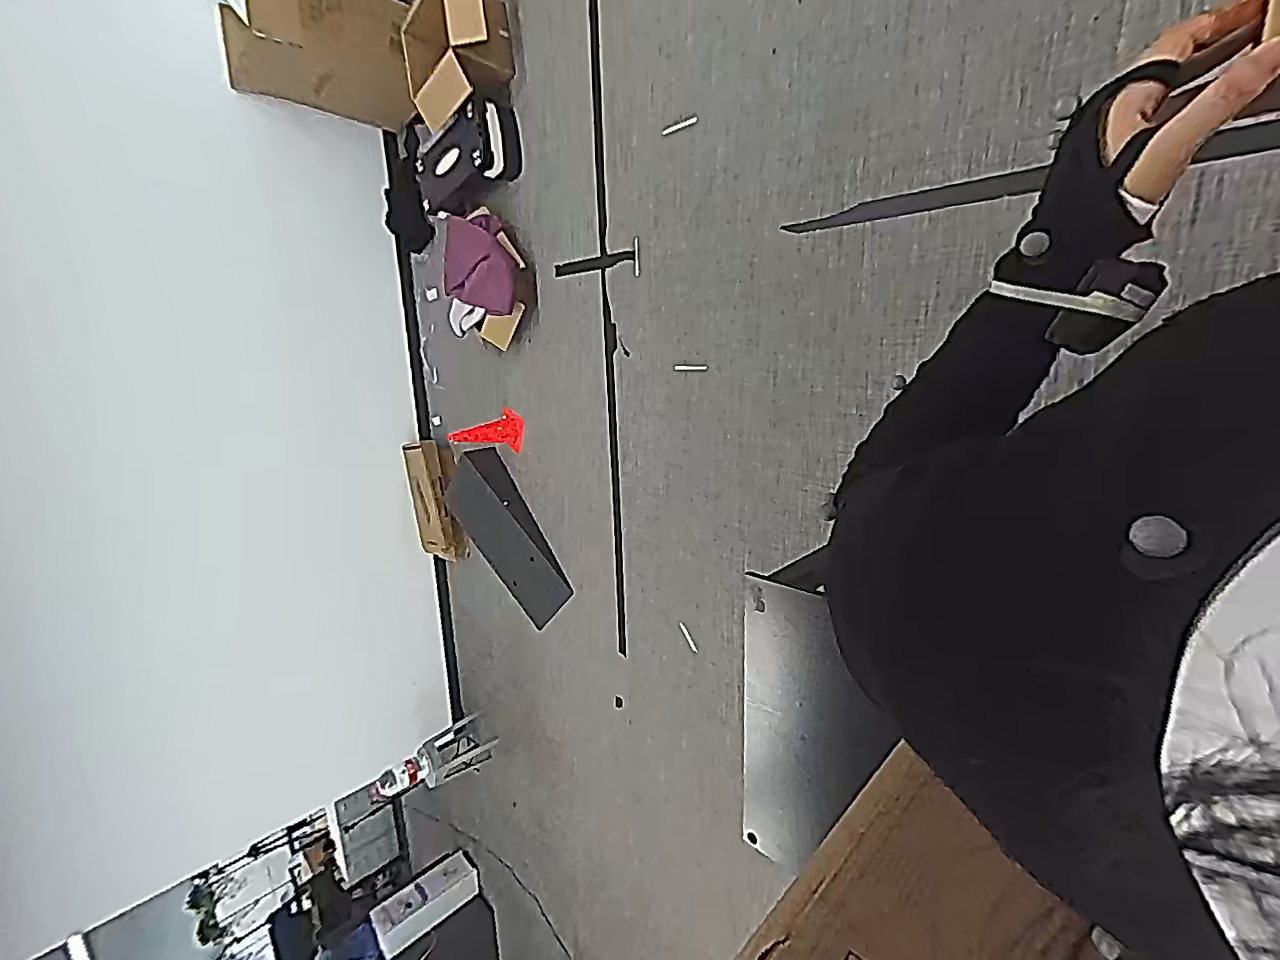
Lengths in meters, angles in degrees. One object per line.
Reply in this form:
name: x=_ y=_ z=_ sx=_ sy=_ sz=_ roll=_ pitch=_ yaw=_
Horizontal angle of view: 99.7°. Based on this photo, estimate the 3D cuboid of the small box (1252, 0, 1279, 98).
small box: x=0.431 y=-0.320 z=0.256 sx=0.168 sy=0.176 sz=0.179 roll=10 pitch=114 yaw=43
